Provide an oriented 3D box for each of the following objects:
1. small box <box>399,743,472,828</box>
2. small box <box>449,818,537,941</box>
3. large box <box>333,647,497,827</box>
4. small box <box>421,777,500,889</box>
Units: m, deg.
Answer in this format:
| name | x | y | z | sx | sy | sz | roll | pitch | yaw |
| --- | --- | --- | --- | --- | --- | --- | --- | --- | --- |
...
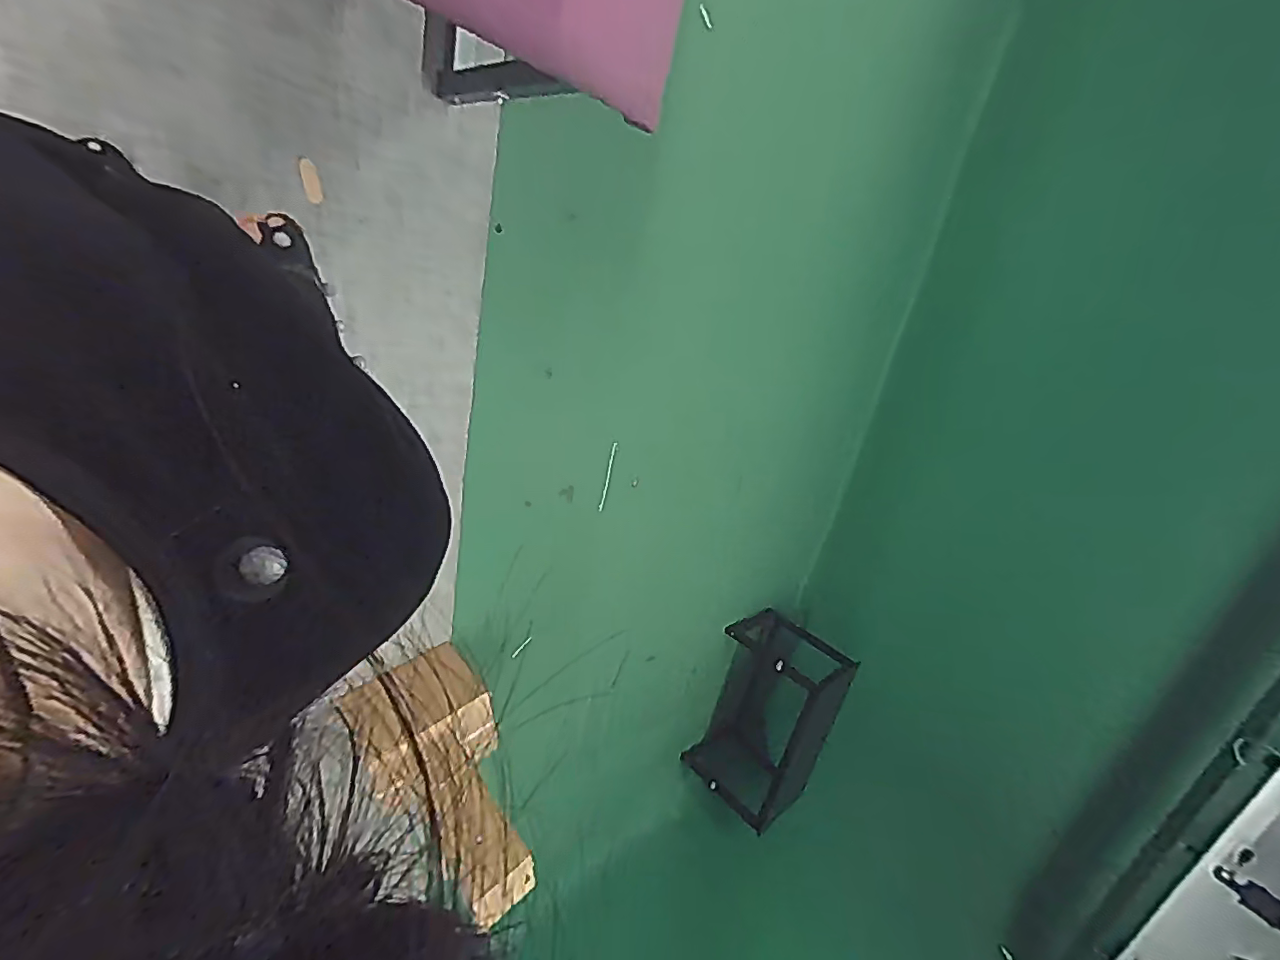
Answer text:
| name | x | y | z | sx | sy | sz | roll | pitch | yaw |
| --- | --- | --- | --- | --- | --- | --- | --- | --- | --- |
| small box | -0.630 | 0.960 | 1.686 | 0.168 | 0.176 | 0.179 | -23 | 128 | -37 |
| small box | -0.407 | 1.087 | 1.483 | 0.179 | 0.176 | 0.168 | -23 | 128 | -36 |
| large box | -0.767 | 0.866 | 1.871 | 0.408 | 0.320 | 0.320 | -25 | 130 | -38 |
| small box | -0.521 | 1.025 | 1.583 | 0.179 | 0.176 | 0.168 | -25 | 129 | -37 |
